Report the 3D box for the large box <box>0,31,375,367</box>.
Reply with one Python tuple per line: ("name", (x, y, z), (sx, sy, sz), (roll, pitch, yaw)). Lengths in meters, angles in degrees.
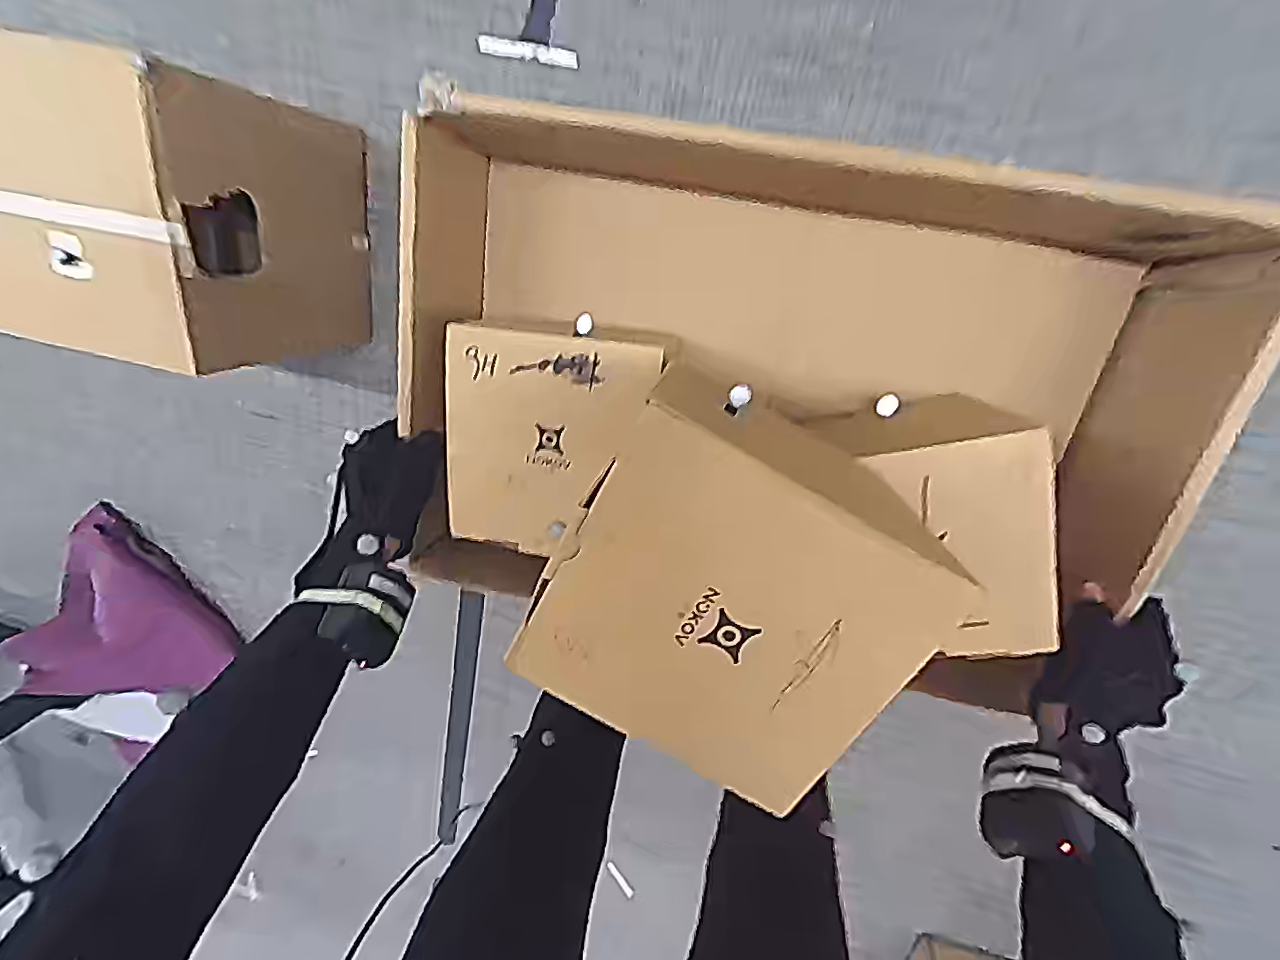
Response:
("large box", (-0.639, -0.360, 0.733), (0.408, 0.320, 0.320), (12, 114, 6))
